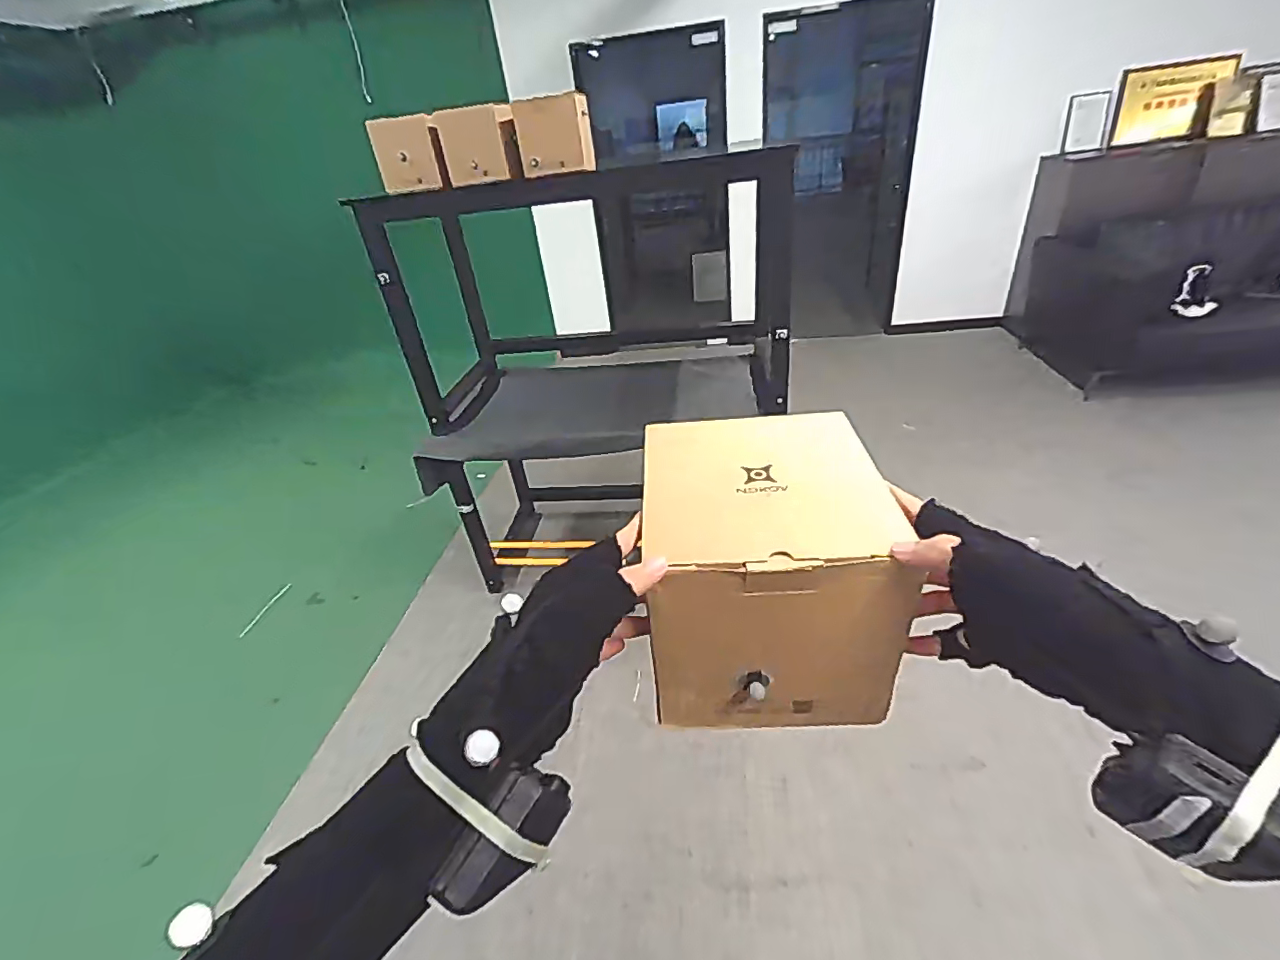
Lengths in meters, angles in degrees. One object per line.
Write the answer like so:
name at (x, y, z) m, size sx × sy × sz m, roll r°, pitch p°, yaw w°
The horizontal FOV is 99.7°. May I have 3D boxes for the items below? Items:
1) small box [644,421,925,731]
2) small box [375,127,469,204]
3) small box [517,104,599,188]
small box at (0.093, 0.070, 0.428) m, size 0.168 × 0.176 × 0.179 m, roll -4°, pitch 34°, yaw 4°
small box at (-0.601, -0.882, 1.521) m, size 0.168 × 0.176 × 0.179 m, roll -1°, pitch 32°, yaw 8°
small box at (-0.210, -0.885, 1.442) m, size 0.168 × 0.176 × 0.179 m, roll -3°, pitch 31°, yaw 7°
